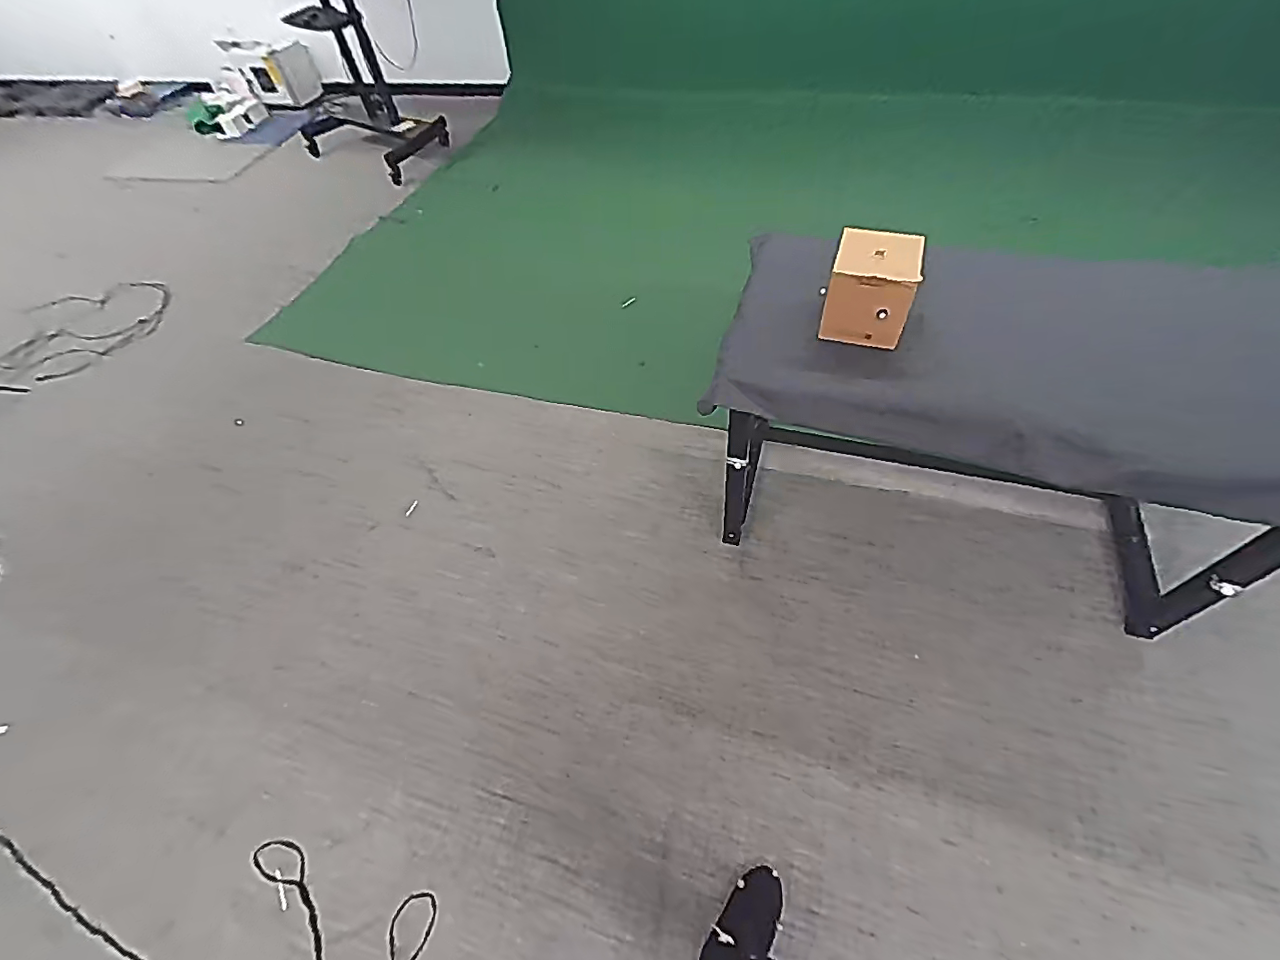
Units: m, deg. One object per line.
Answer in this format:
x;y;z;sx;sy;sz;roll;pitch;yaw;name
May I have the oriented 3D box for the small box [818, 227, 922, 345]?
0.495;-0.419;1.178;0.168;0.176;0.179;14;56;14;small box
